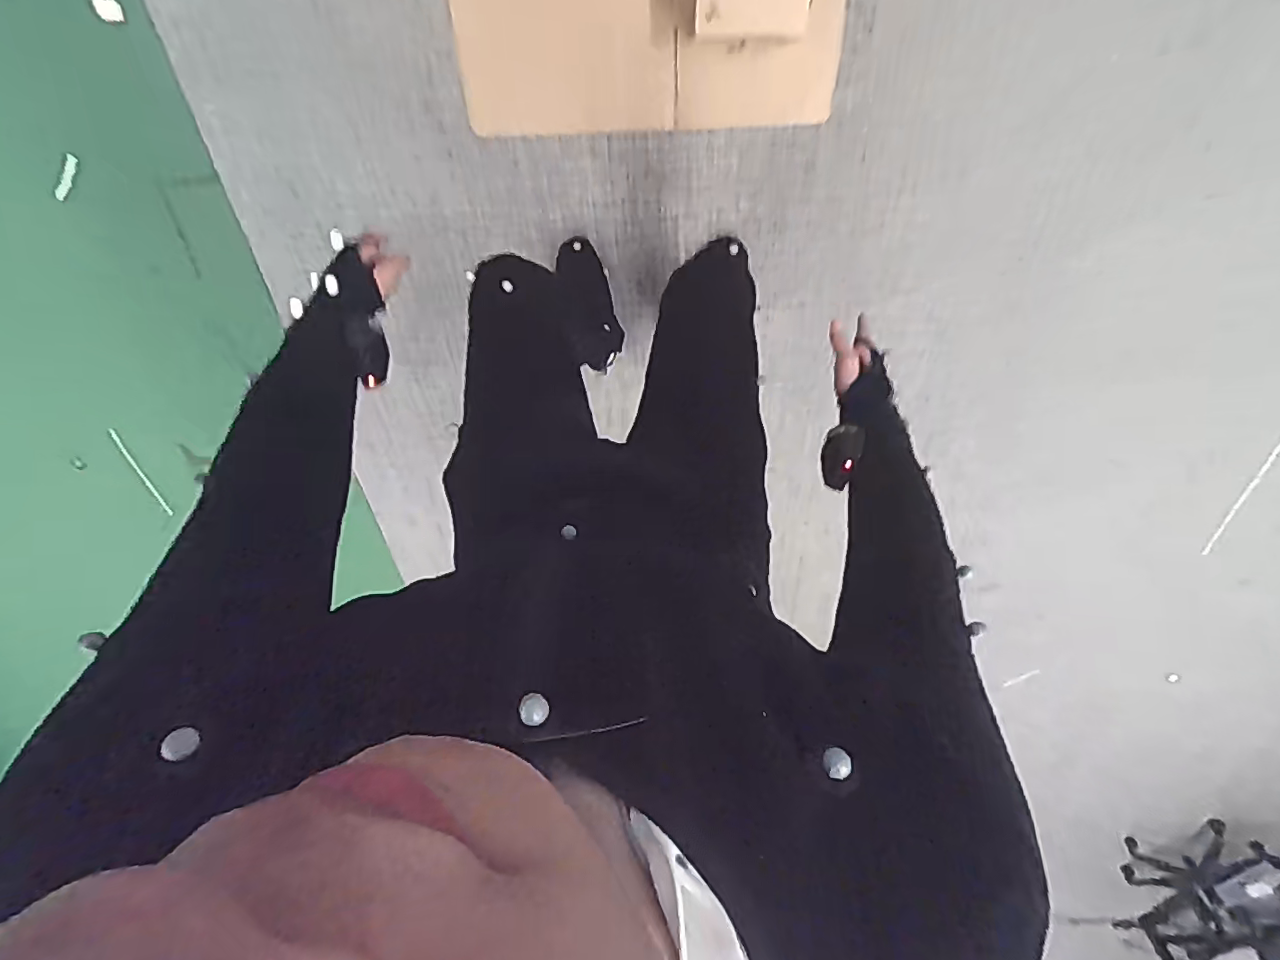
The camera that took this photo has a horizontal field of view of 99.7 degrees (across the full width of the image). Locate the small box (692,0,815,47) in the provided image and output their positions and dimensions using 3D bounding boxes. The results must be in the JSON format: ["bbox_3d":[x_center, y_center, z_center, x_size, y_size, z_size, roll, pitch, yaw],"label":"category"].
[{"bbox_3d":[0.179,-0.800,0.856,0.179,0.176,0.168,2,126,2],"label":"small box"}]
